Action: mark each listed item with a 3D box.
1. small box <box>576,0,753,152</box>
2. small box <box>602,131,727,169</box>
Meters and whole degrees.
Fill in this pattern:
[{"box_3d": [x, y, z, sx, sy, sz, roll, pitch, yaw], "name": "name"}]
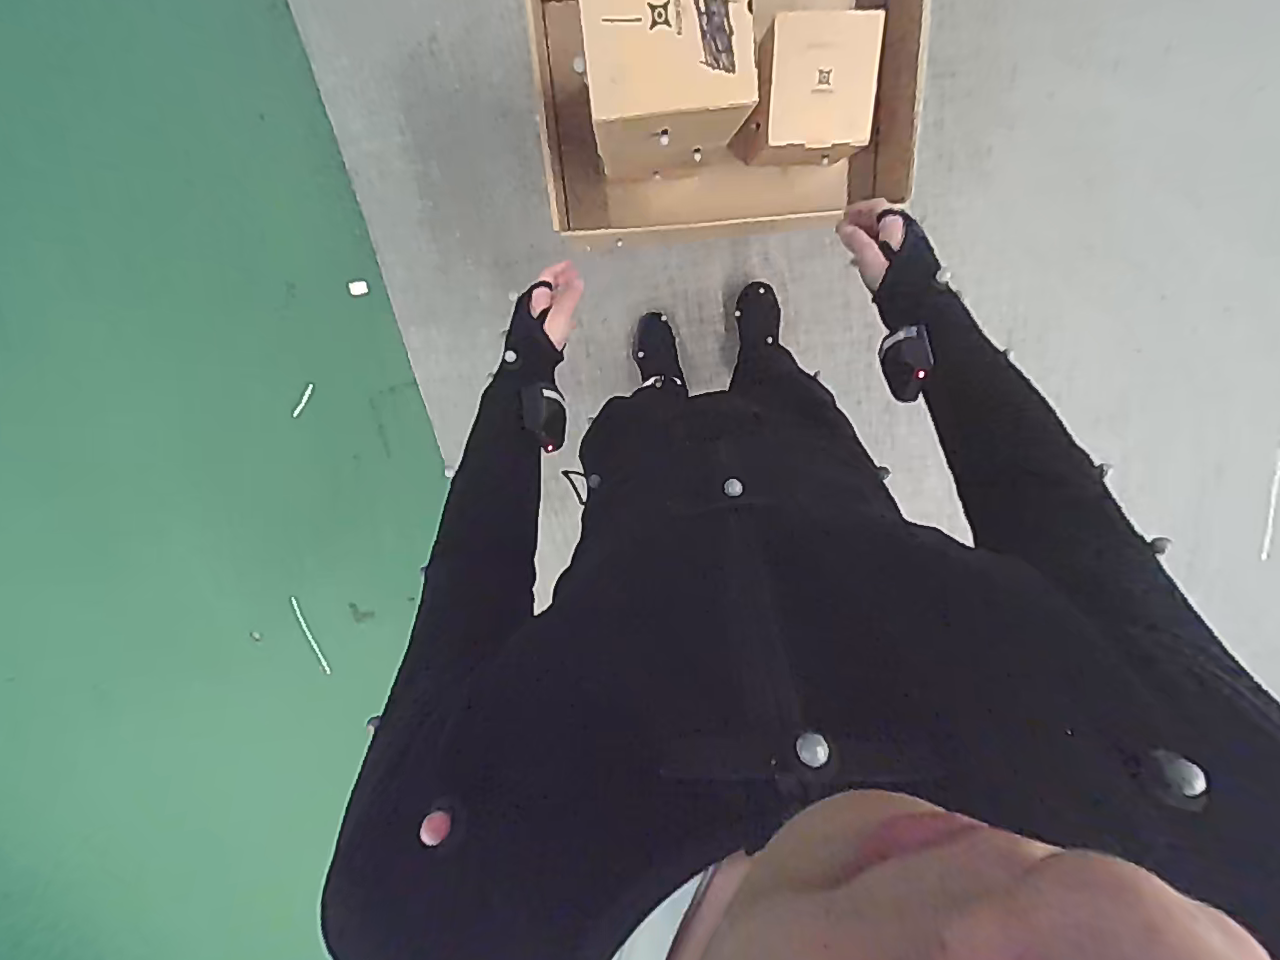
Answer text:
[{"box_3d": [0.024, -0.491, 0.617, 0.179, 0.176, 0.168, -5, 110, 3], "name": "small box"}, {"box_3d": [0.026, -0.554, 0.769, 0.179, 0.176, 0.168, -4, 111, 1], "name": "small box"}]
